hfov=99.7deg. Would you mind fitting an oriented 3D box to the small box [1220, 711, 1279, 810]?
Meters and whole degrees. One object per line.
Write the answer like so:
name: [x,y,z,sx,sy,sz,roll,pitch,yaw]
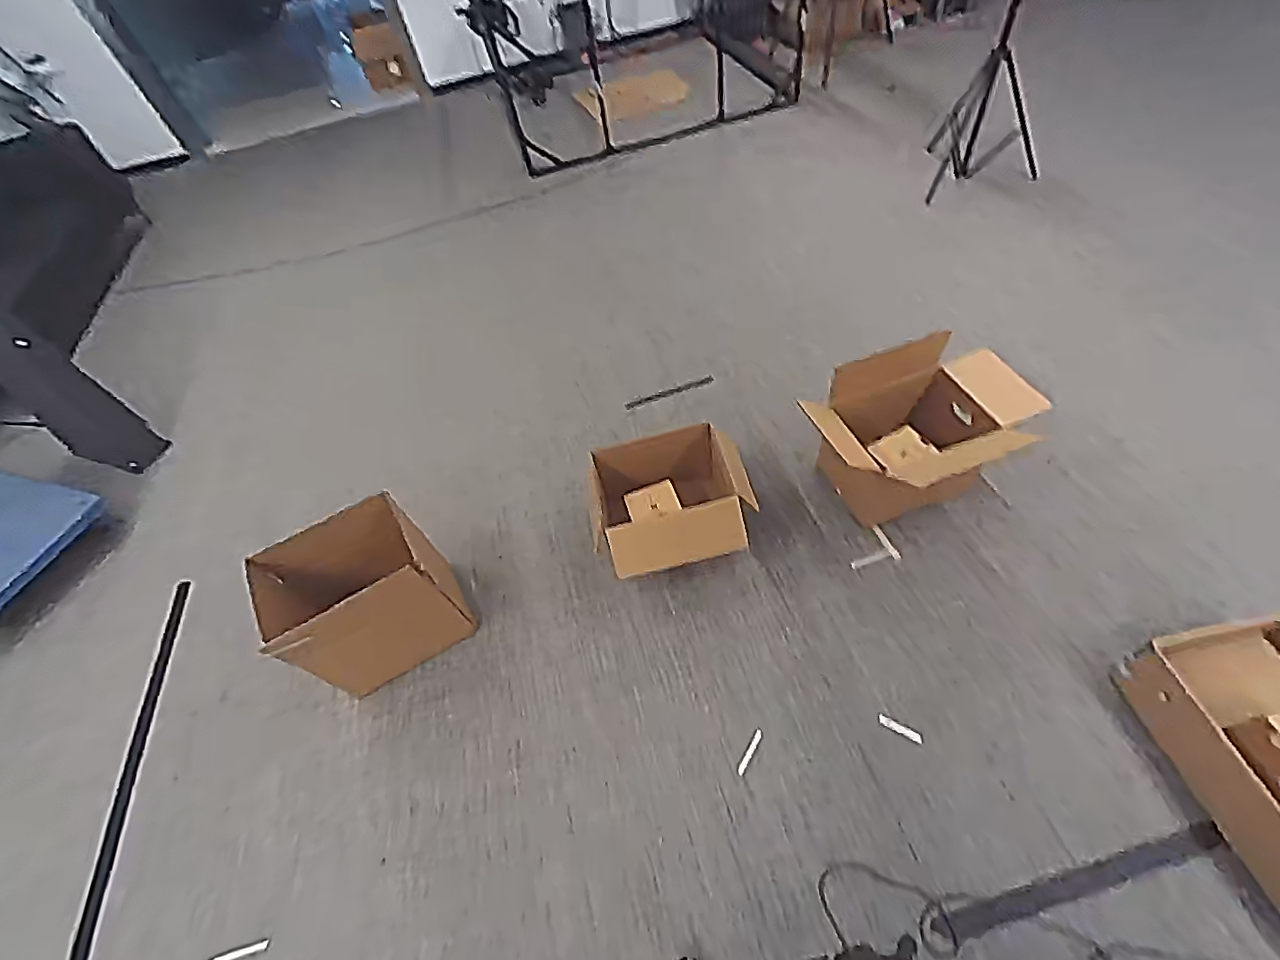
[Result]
small box: [1.429,0.591,1.163,0.179,0.176,0.168,-17,54,-3]
